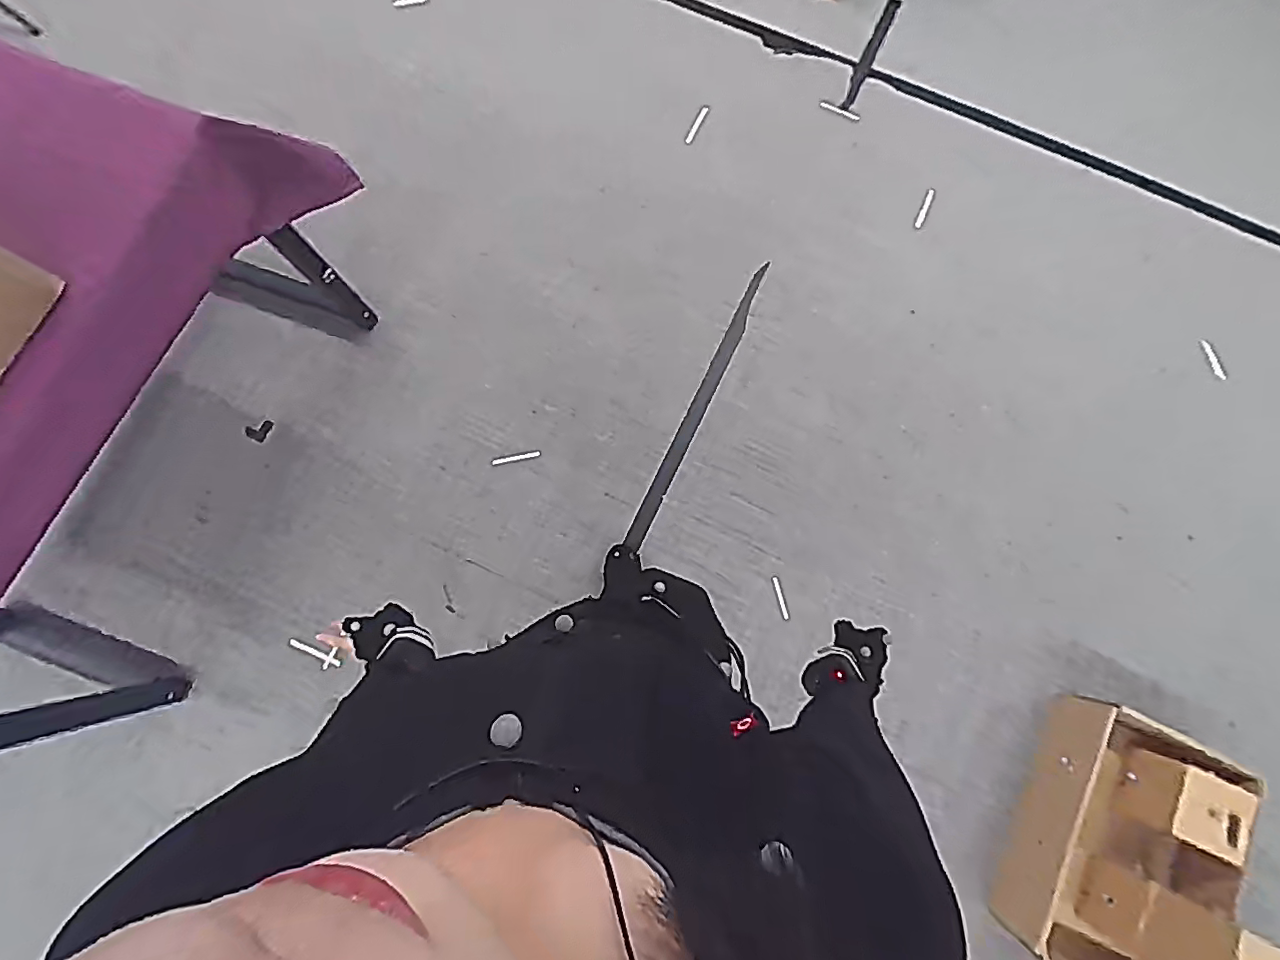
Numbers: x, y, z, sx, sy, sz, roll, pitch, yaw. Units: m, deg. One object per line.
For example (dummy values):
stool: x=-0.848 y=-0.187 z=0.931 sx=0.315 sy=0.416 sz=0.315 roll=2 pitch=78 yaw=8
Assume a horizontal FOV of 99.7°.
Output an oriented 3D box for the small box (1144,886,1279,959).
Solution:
small box: x=1.216 y=1.010 z=1.126 sx=0.168 sy=0.176 sz=0.179 roll=28 pitch=77 yaw=2

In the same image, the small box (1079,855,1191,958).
small box: x=1.208 y=1.039 z=1.289 sx=0.179 sy=0.176 sz=0.168 roll=27 pitch=76 yaw=5
